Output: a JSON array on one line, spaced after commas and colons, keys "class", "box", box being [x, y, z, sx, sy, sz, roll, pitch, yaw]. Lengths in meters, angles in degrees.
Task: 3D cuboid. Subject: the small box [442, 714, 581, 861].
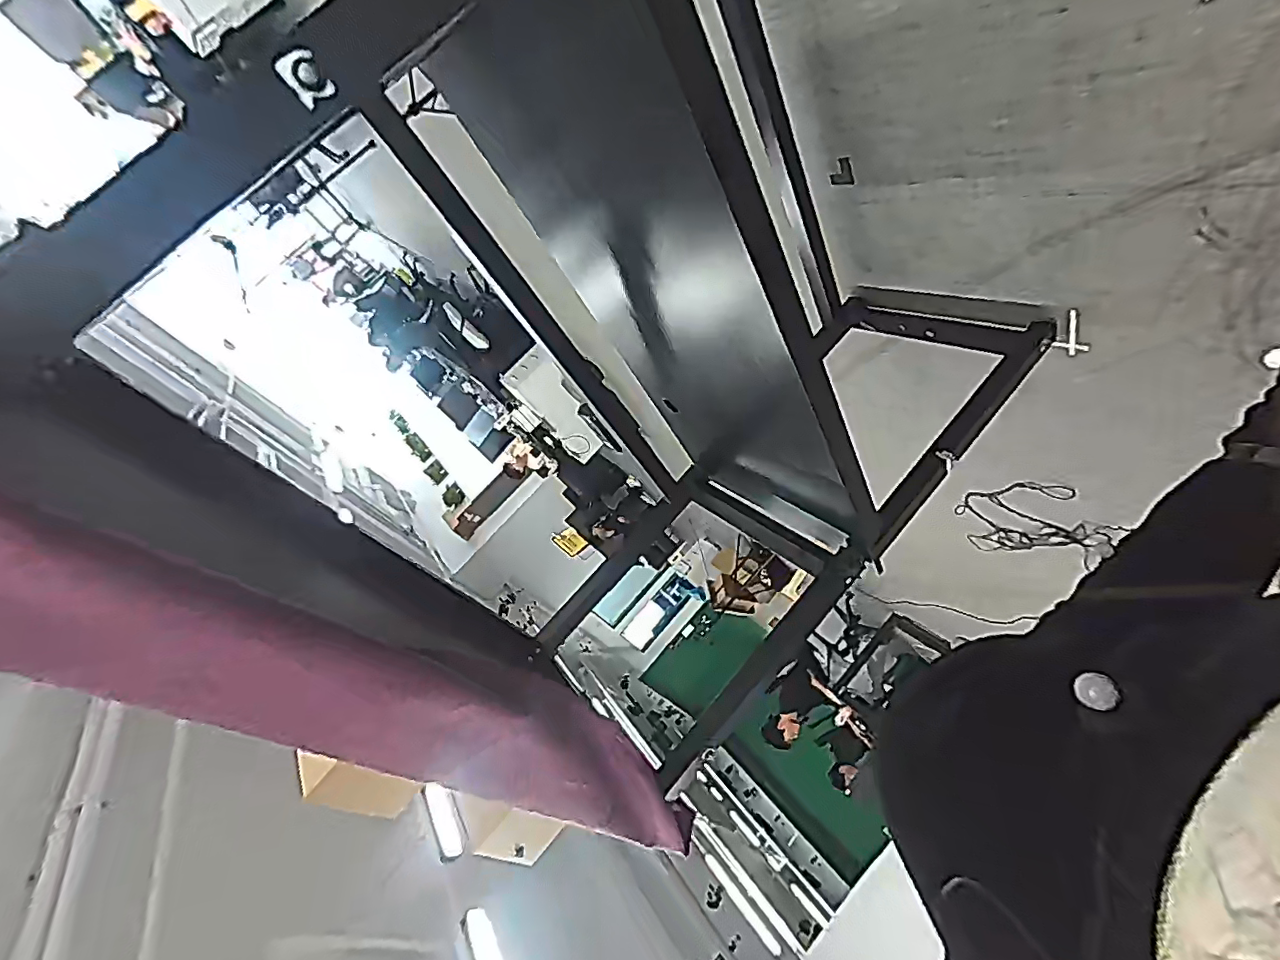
[{"class": "small box", "box": [-0.244, 0.583, 1.045, 0.179, 0.176, 0.168, 35, 169, 49]}]

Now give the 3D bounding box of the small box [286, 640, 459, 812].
[{"class": "small box", "box": [-0.420, 0.379, 0.857, 0.179, 0.176, 0.168, 34, 169, 46]}]
